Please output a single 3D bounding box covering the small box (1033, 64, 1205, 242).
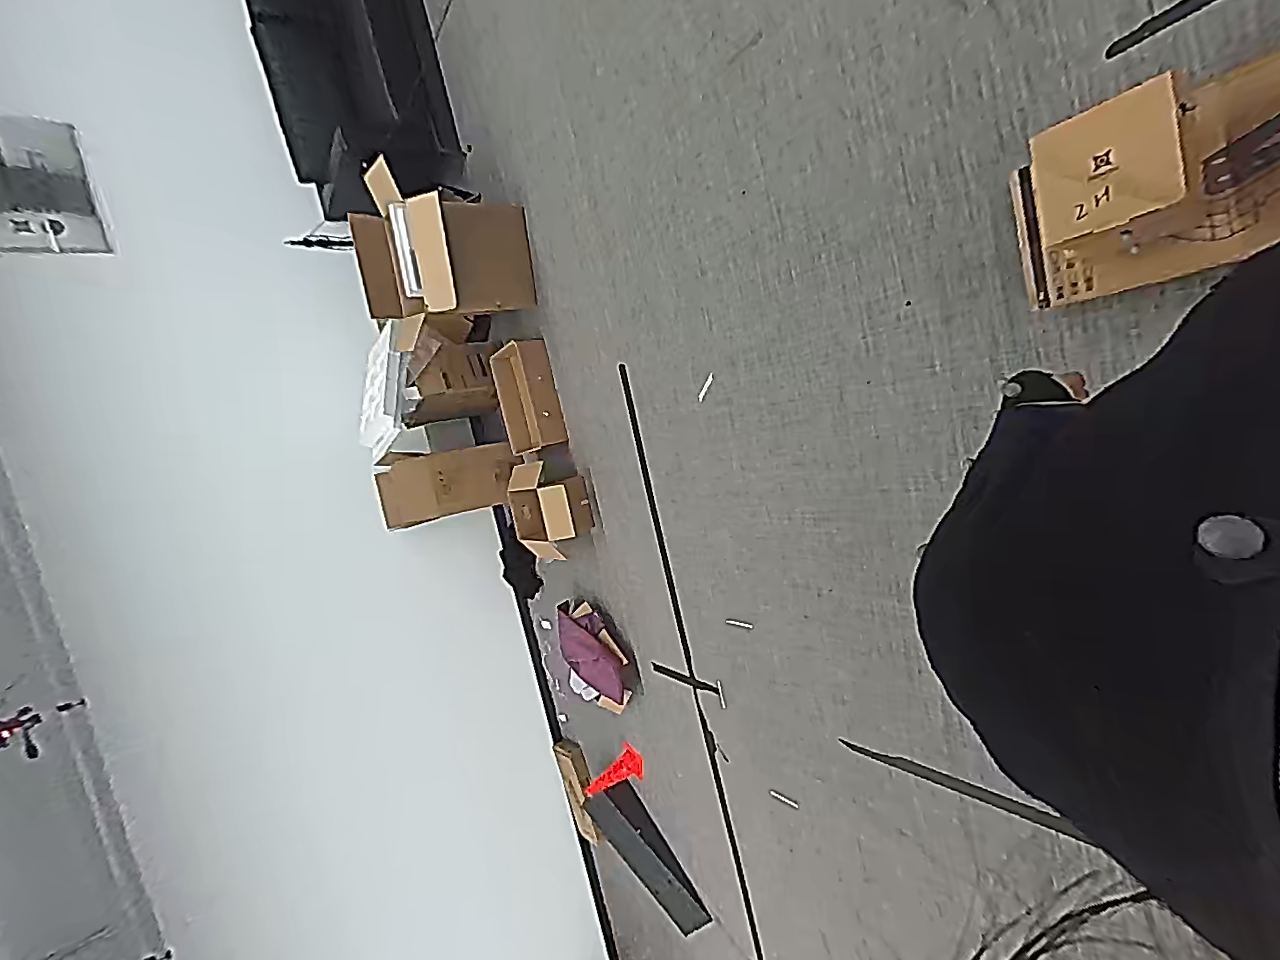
[{"bbox_3d":[0.745,-0.488,0.841,0.168,0.176,0.179,-5,100,54],"label":"small box"}]

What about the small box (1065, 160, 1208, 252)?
[{"bbox_3d":[0.864,-0.518,0.953,0.168,0.176,0.179,-8,98,54],"label":"small box"}]
